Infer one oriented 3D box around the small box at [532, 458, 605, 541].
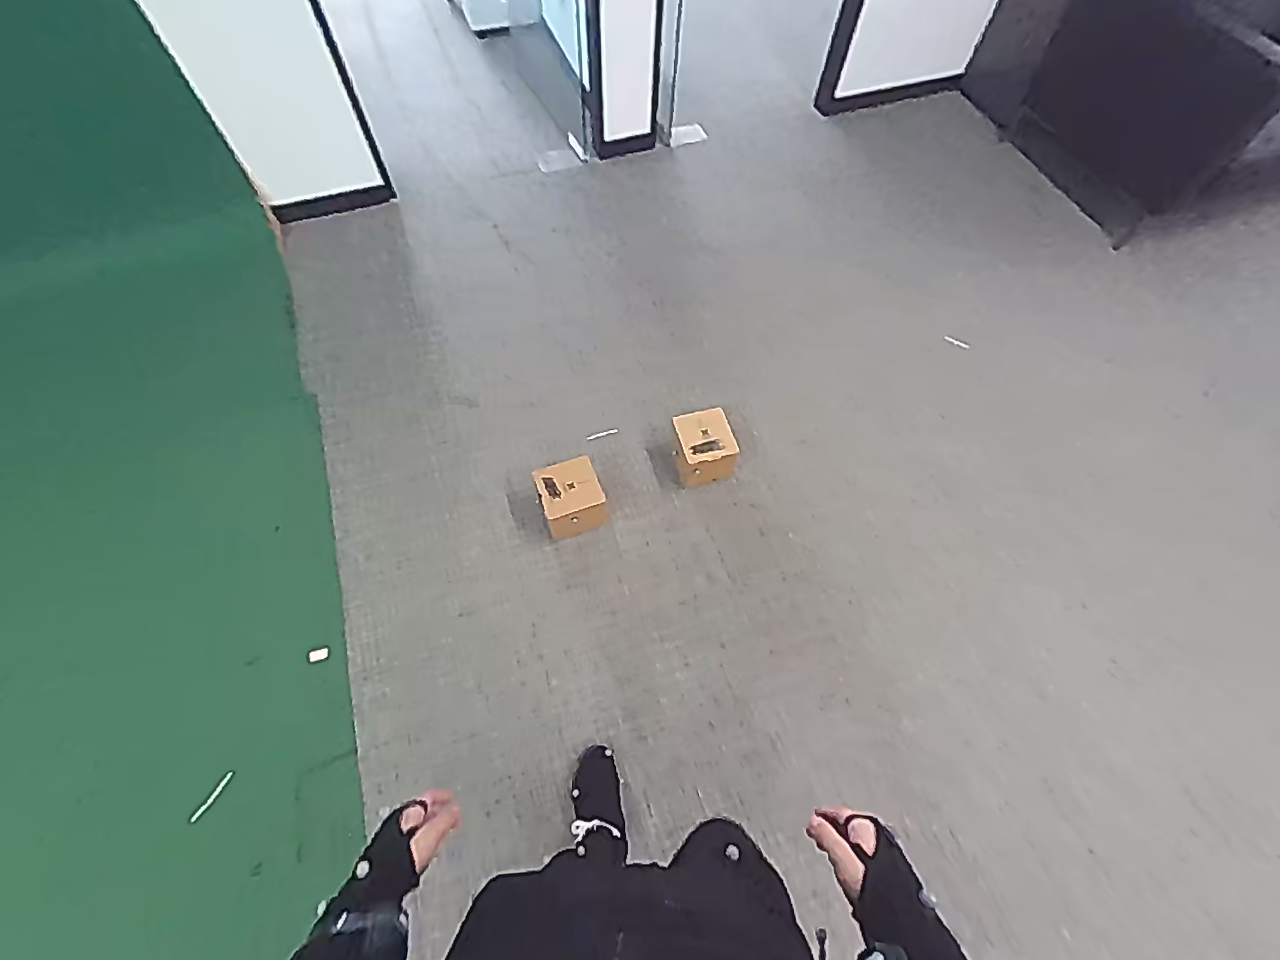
[{"bbox_3d":[-0.210,0.063,1.627,0.179,0.176,0.168,-18,65,-12],"label":"small box"}]
